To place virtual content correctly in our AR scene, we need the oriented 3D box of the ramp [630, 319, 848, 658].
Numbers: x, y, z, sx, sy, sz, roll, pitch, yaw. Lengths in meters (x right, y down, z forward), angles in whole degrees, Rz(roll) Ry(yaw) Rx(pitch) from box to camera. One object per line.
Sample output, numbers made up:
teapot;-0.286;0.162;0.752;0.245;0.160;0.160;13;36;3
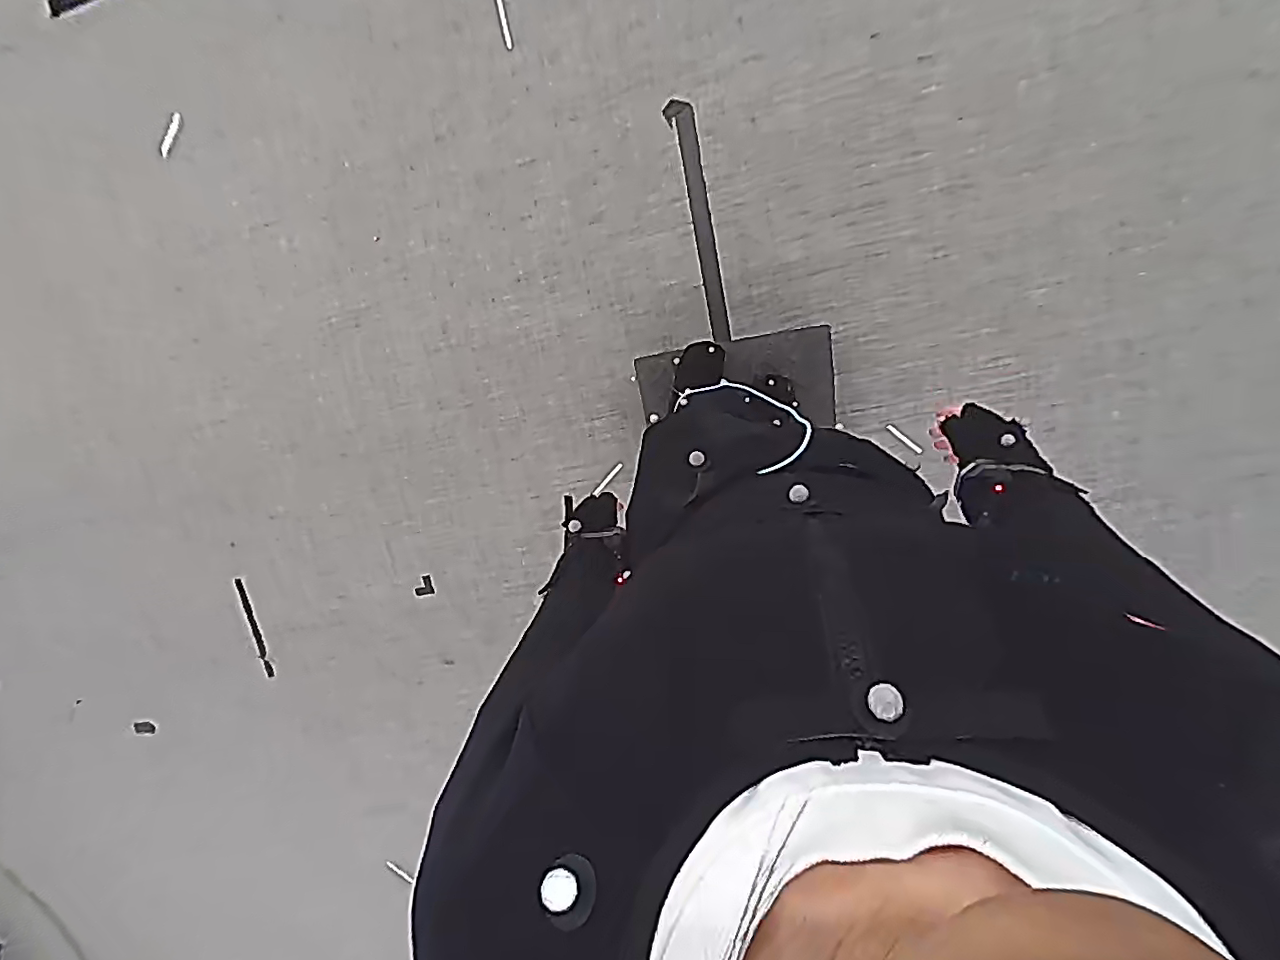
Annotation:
ramp;0.311;0.091;1.528;0.509;0.206;0.991;-10;102;10
